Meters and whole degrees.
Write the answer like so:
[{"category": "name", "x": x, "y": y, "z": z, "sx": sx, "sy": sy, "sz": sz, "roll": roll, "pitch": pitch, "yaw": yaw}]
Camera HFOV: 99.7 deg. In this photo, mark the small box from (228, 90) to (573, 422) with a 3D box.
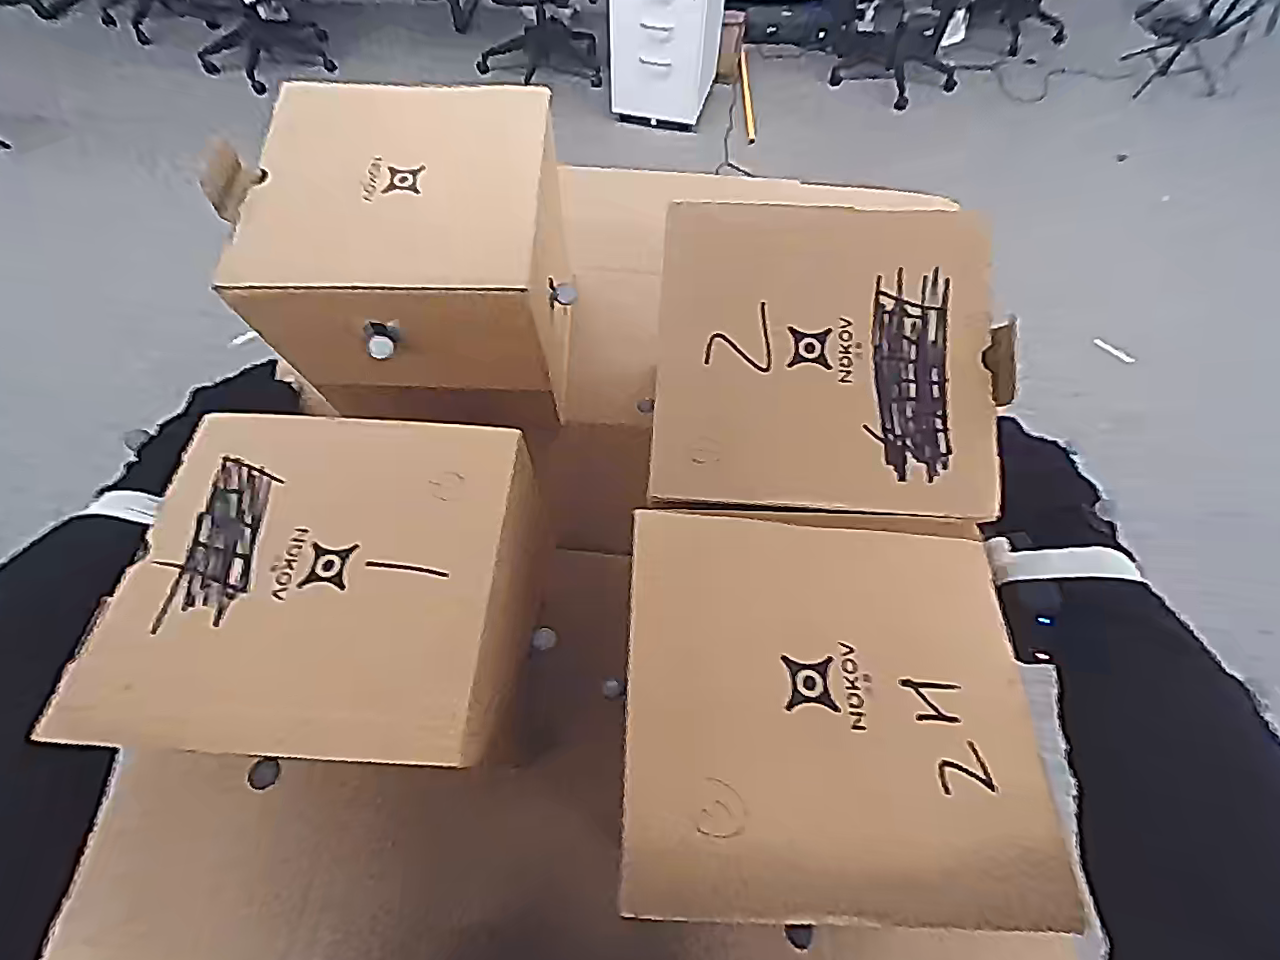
[{"category": "small box", "x": -0.148, "y": -0.153, "z": 0.410, "sx": 0.179, "sy": 0.176, "sz": 0.168, "roll": 0, "pitch": 68, "yaw": 1}]
